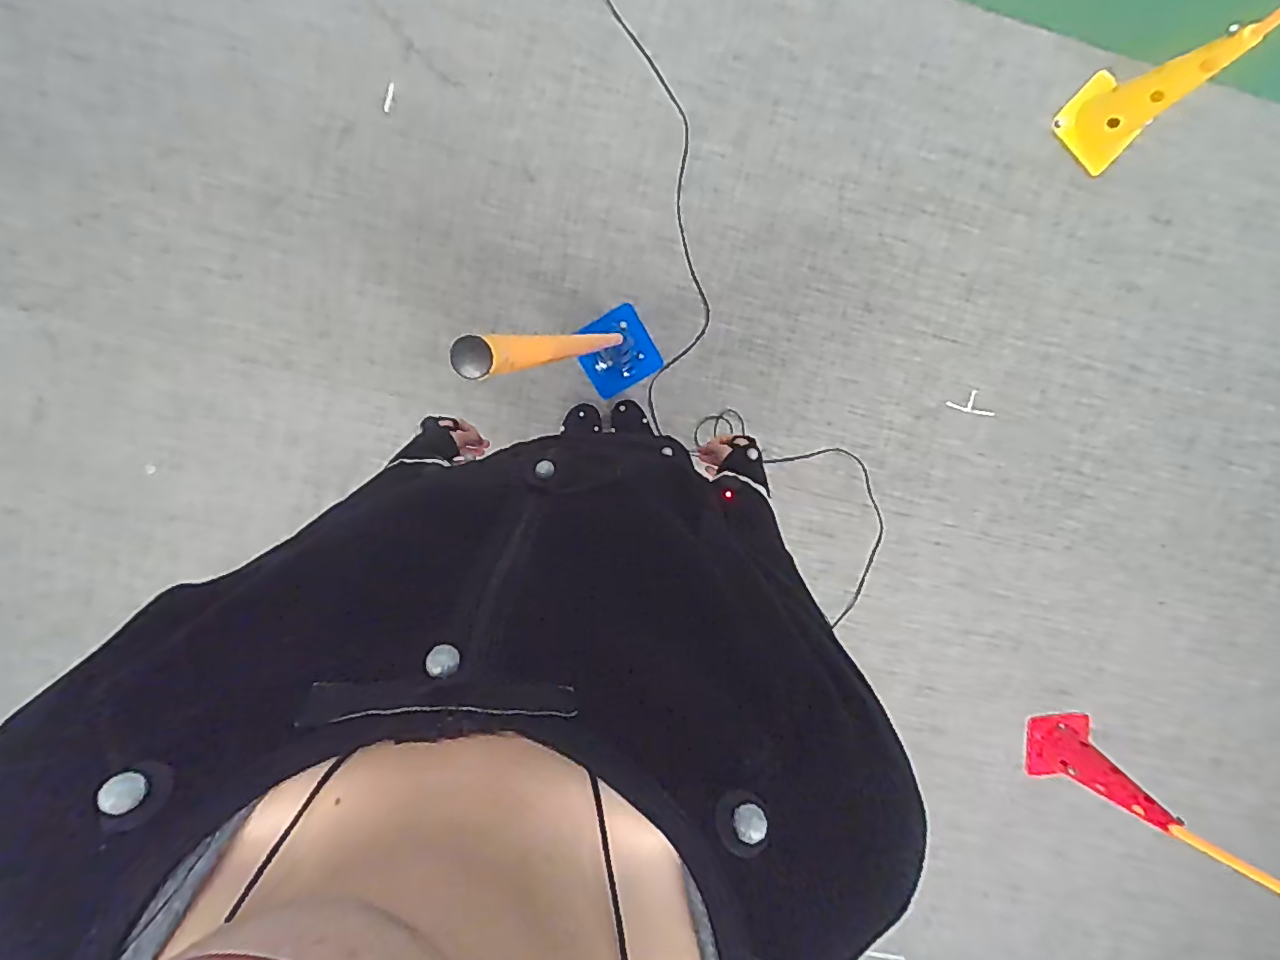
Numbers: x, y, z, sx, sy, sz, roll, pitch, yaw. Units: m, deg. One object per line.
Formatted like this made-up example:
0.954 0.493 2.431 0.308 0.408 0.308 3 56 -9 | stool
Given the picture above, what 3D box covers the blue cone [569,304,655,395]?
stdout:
-0.064 -0.313 1.274 0.193 0.380 0.192 -32 99 3 | blue cone
